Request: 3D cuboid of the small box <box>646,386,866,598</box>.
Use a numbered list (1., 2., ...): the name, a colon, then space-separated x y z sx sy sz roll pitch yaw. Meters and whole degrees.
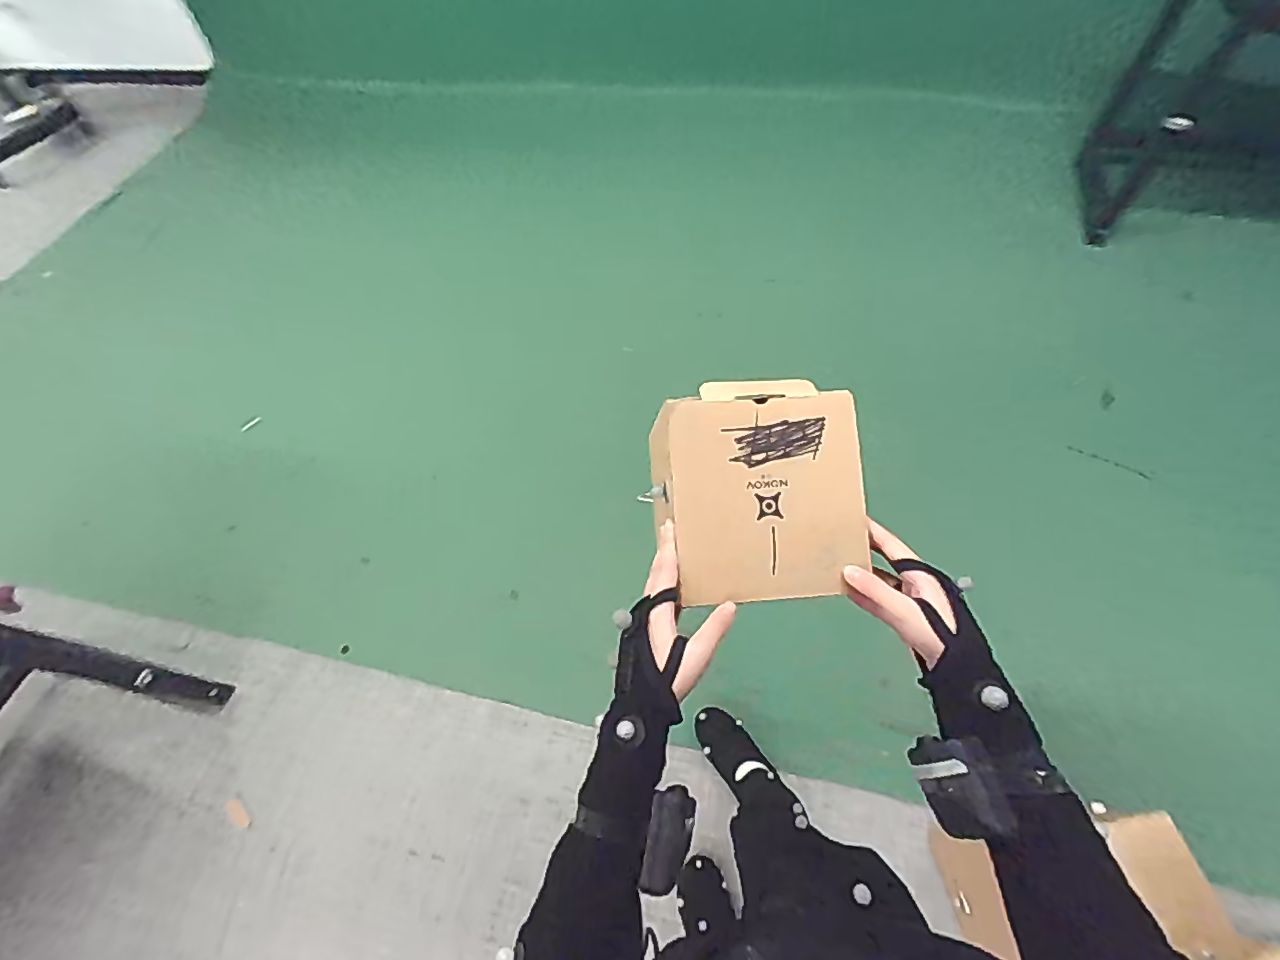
1. small box: 0.099 0.016 0.538 0.168 0.176 0.179 -4 85 -4
